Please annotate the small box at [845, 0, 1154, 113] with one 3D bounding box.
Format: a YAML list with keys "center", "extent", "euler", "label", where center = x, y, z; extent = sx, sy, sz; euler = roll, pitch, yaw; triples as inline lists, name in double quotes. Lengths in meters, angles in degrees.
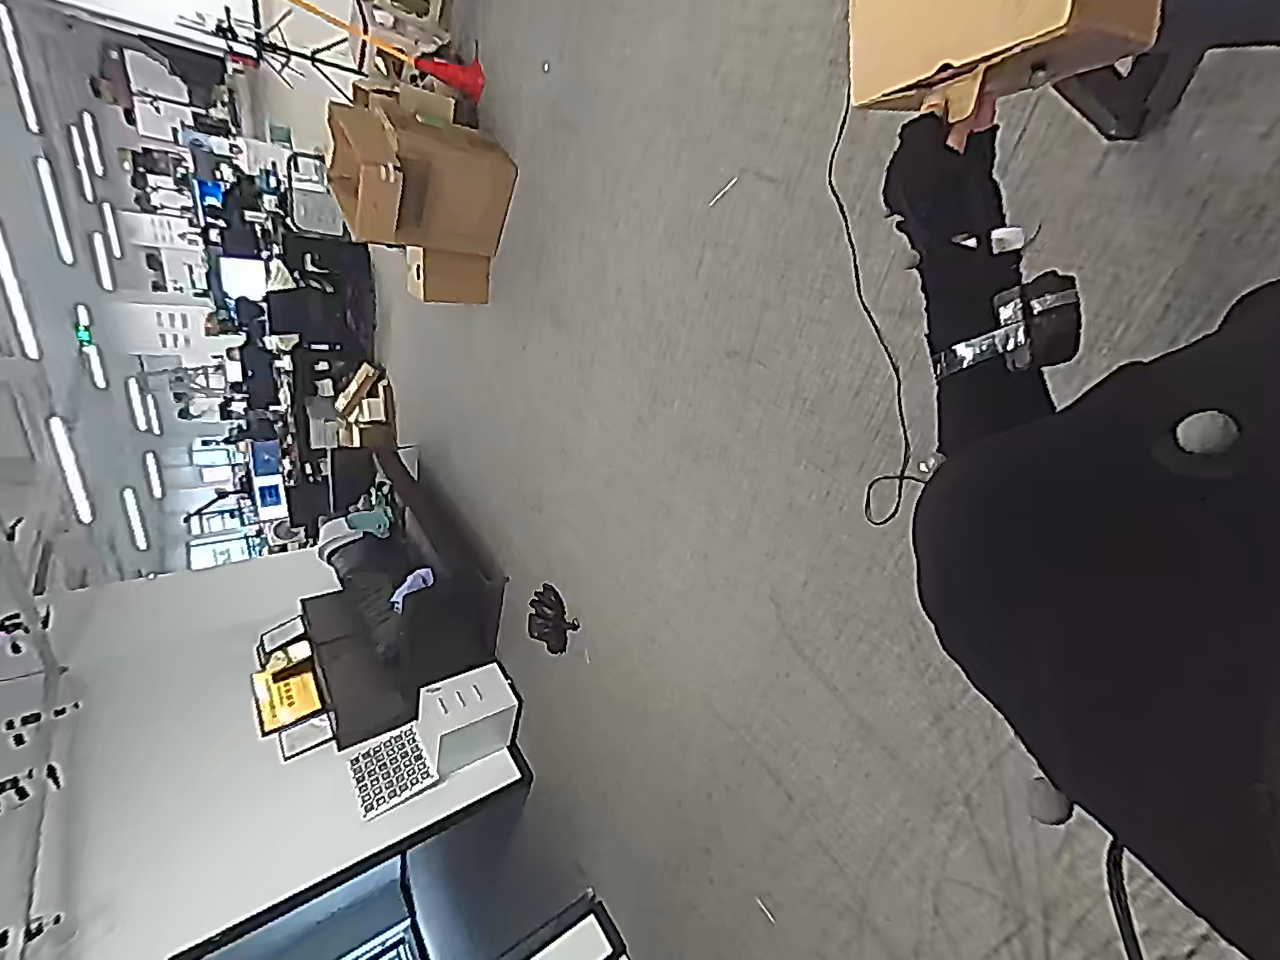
- center: [0.283, -0.414, 0.424]
  extent: [0.168, 0.176, 0.179]
  euler: [19, 124, 52]
  label: "small box"
